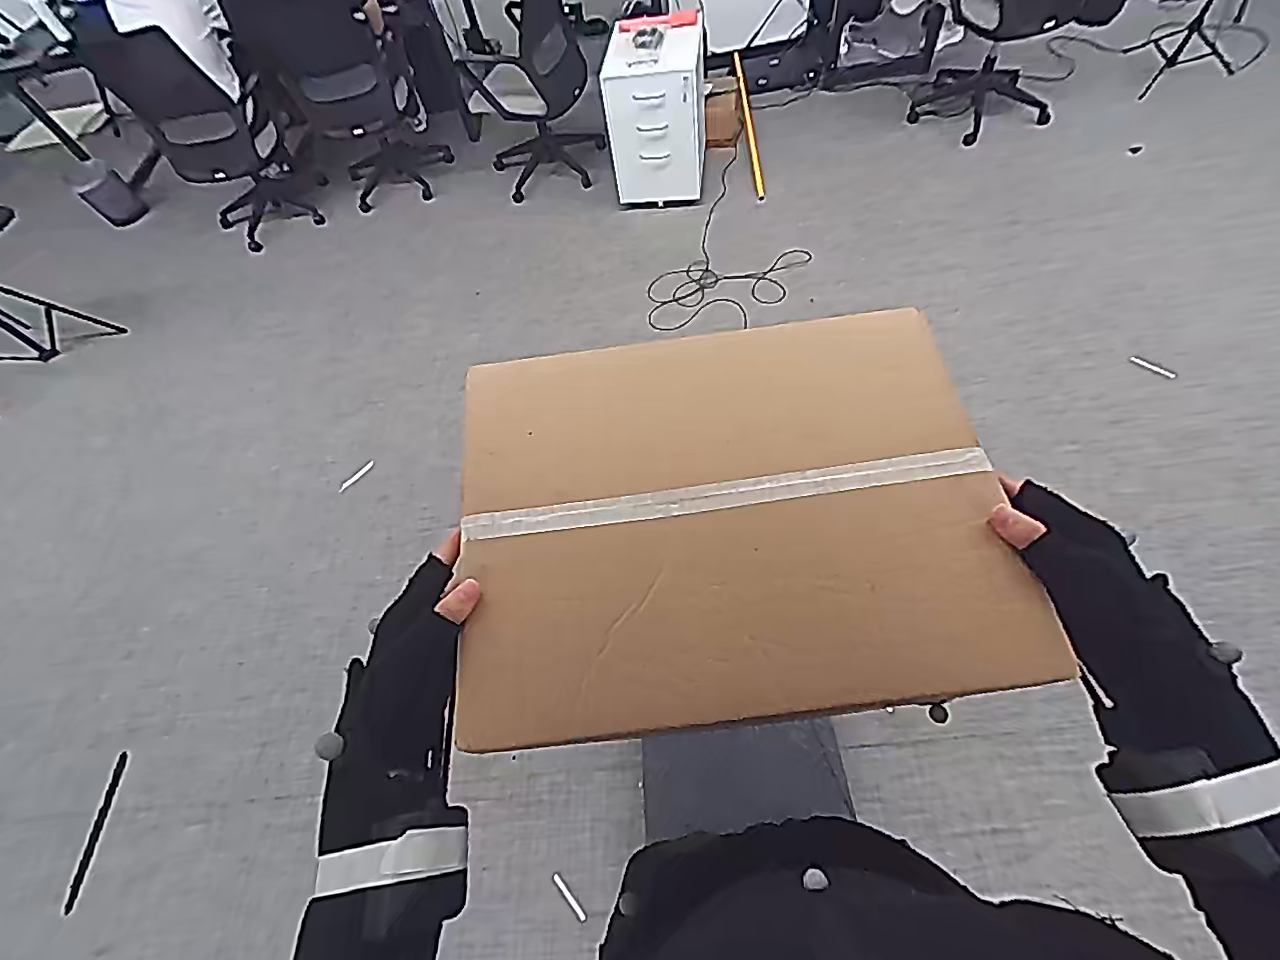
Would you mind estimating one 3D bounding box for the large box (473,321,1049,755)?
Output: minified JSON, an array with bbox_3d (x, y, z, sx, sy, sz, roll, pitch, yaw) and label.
[{"bbox_3d":[0.077,0.082,0.563,0.408,0.320,0.320,-8,64,1],"label":"large box"}]
